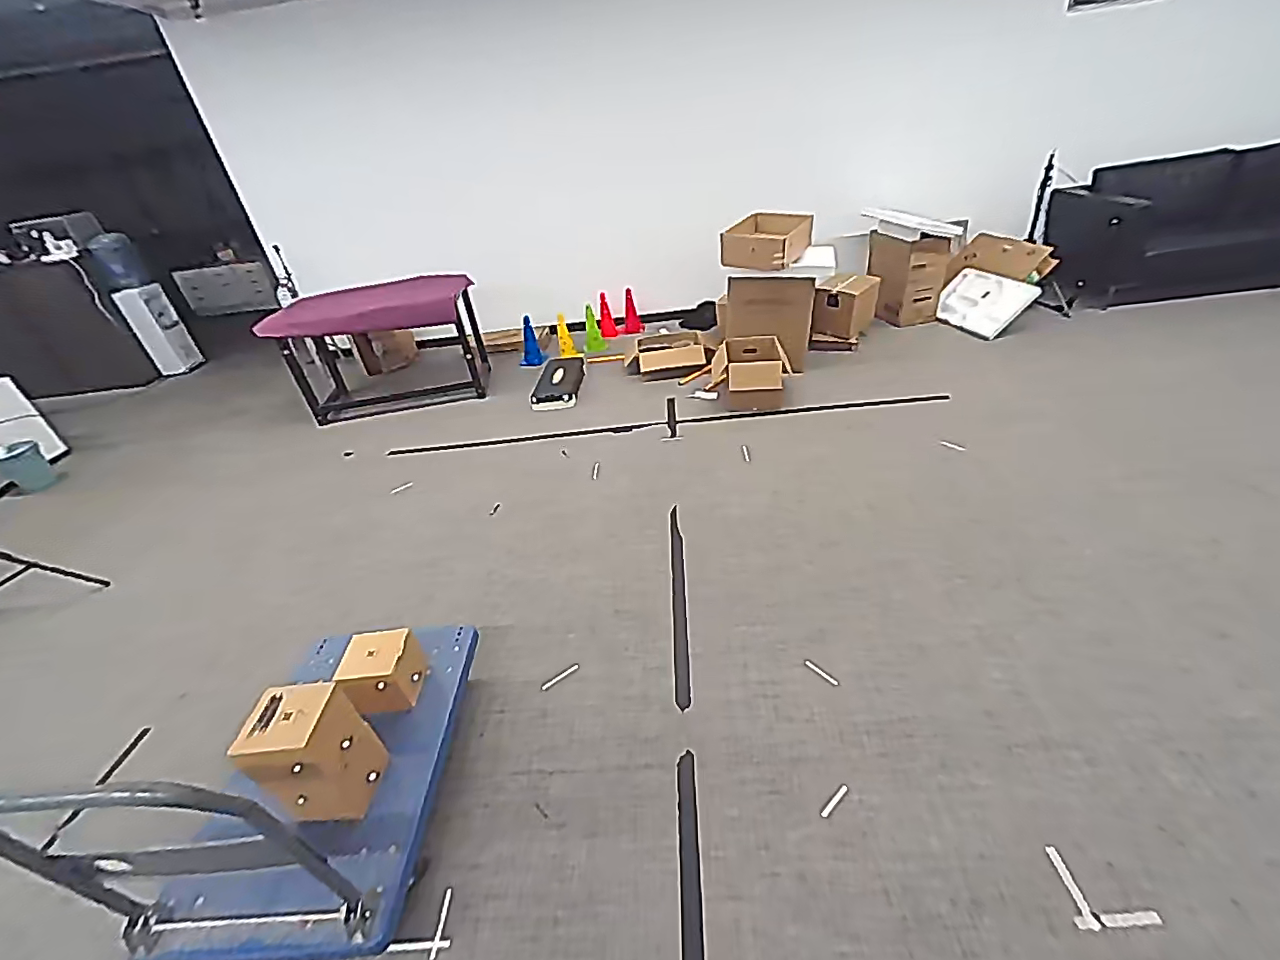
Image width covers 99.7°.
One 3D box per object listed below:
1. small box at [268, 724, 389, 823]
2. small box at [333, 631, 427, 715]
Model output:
[{"bbox_3d":[-0.771,0.739,1.359,0.179,0.176,0.168,-4,34,6],"label":"small box"},{"bbox_3d":[-0.762,0.576,1.604,0.179,0.176,0.168,-7,34,1],"label":"small box"}]
